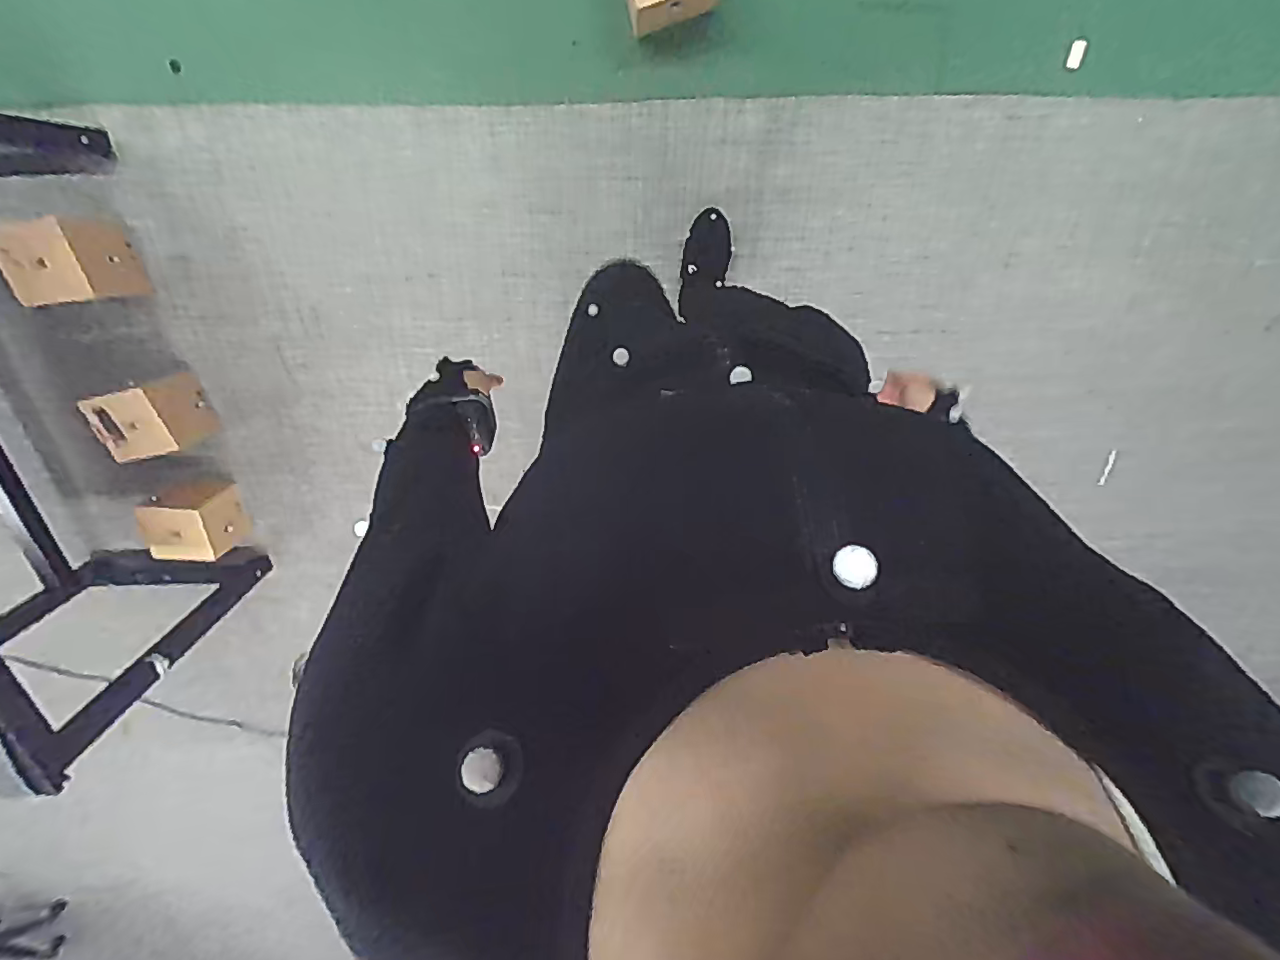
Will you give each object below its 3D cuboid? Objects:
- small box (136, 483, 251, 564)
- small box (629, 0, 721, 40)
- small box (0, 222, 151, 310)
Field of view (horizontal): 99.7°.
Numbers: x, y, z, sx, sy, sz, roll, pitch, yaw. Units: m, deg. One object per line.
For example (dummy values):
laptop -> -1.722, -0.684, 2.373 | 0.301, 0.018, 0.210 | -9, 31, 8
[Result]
small box -> -1.246, 0.119, 1.530 | 0.179, 0.176, 0.168 | 3, 116, -1
small box -> 0.057, -0.957, 0.999 | 0.179, 0.176, 0.168 | -16, 115, 6
small box -> -1.278, -0.490, 1.229 | 0.179, 0.176, 0.168 | -5, 115, 3
